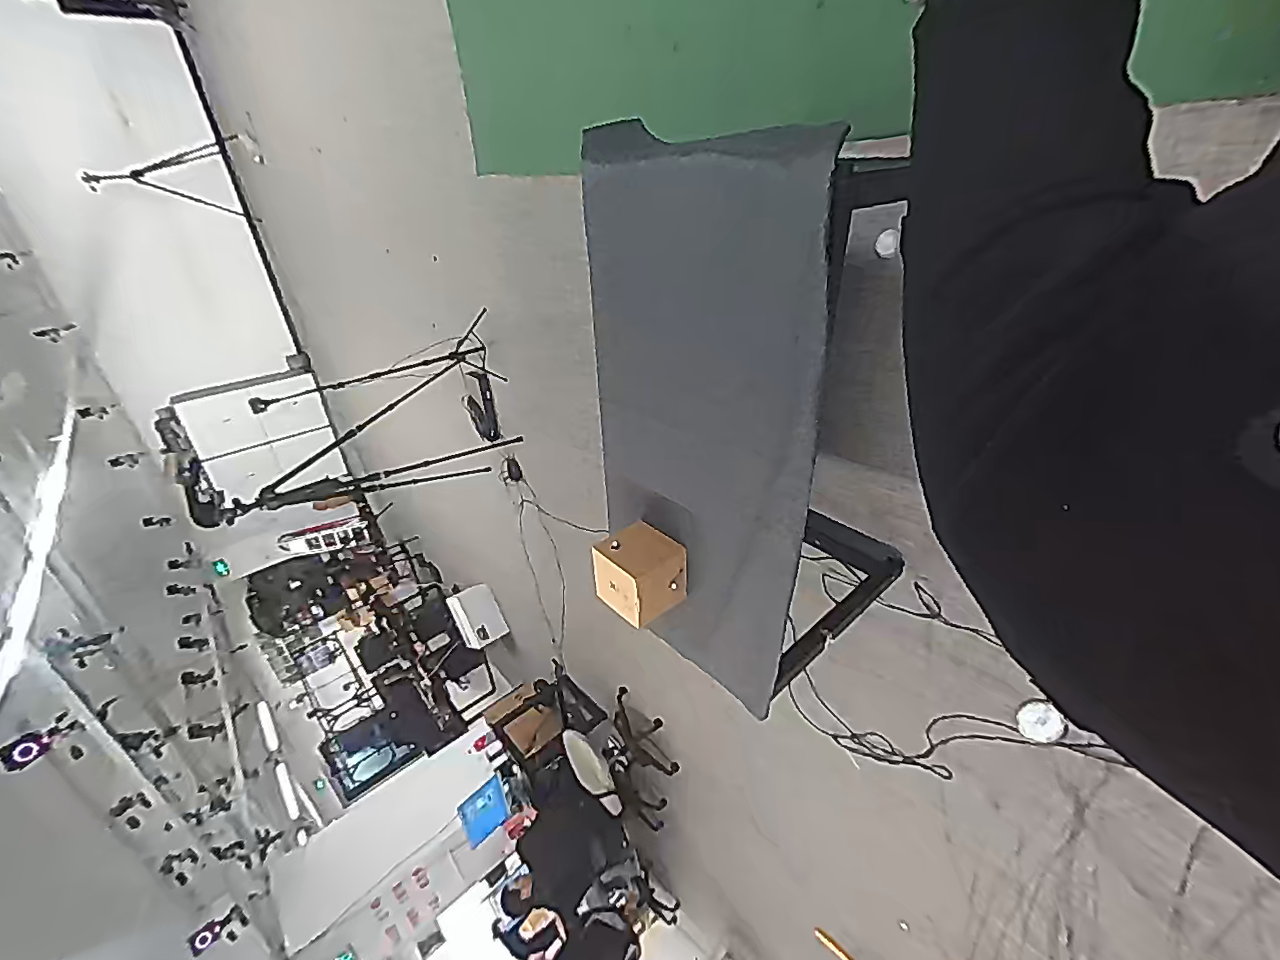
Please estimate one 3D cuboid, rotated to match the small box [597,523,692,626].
[{"bbox_3d":[0.011,0.231,1.384,0.179,0.176,0.168,28,133,41],"label":"small box"}]
